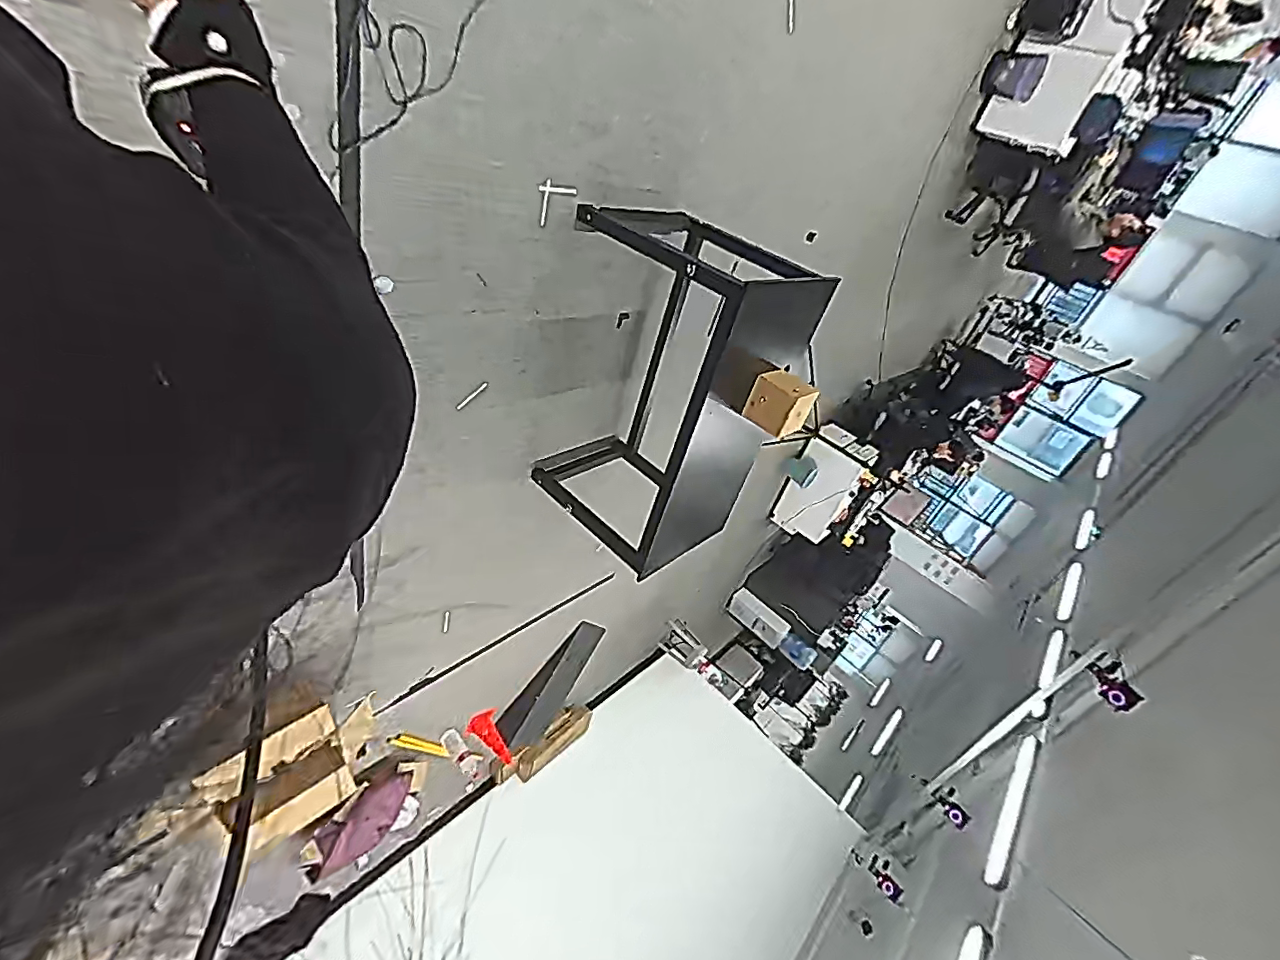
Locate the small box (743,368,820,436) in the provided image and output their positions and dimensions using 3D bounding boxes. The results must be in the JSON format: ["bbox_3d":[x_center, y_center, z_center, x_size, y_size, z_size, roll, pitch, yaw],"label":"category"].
[{"bbox_3d":[0.500,-0.283,1.920,0.179,0.176,0.168,-22,140,-44],"label":"small box"}]
